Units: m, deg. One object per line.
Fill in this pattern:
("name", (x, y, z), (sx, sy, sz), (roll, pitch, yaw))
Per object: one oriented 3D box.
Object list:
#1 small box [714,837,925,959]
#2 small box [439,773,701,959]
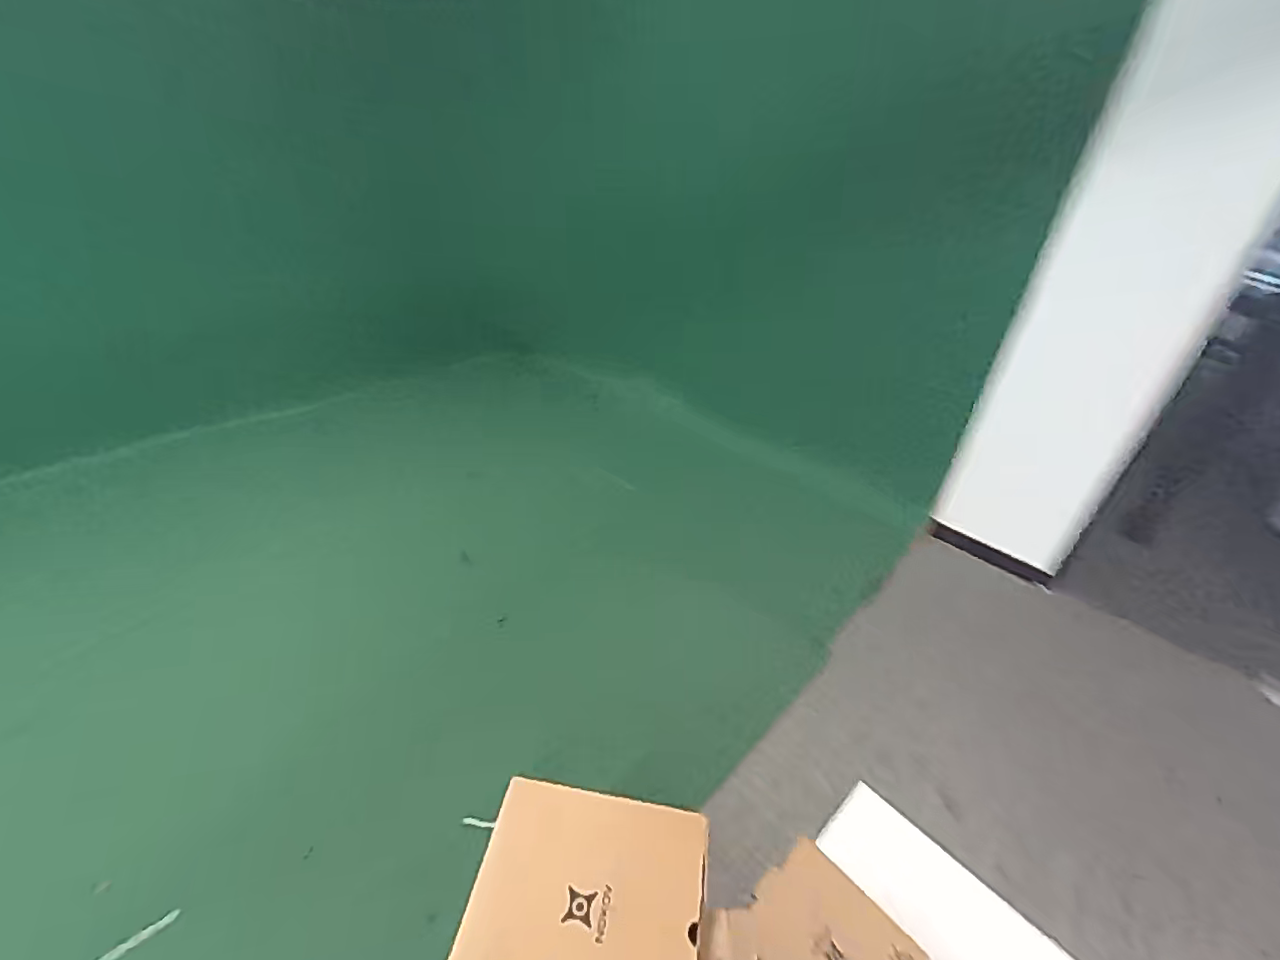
("small box", (0.207, 0.605, 0.667), (0.168, 0.176, 0.179), (-25, 44, -35))
("small box", (-0.050, 0.382, 0.451), (0.179, 0.176, 0.168), (8, 34, 5))
